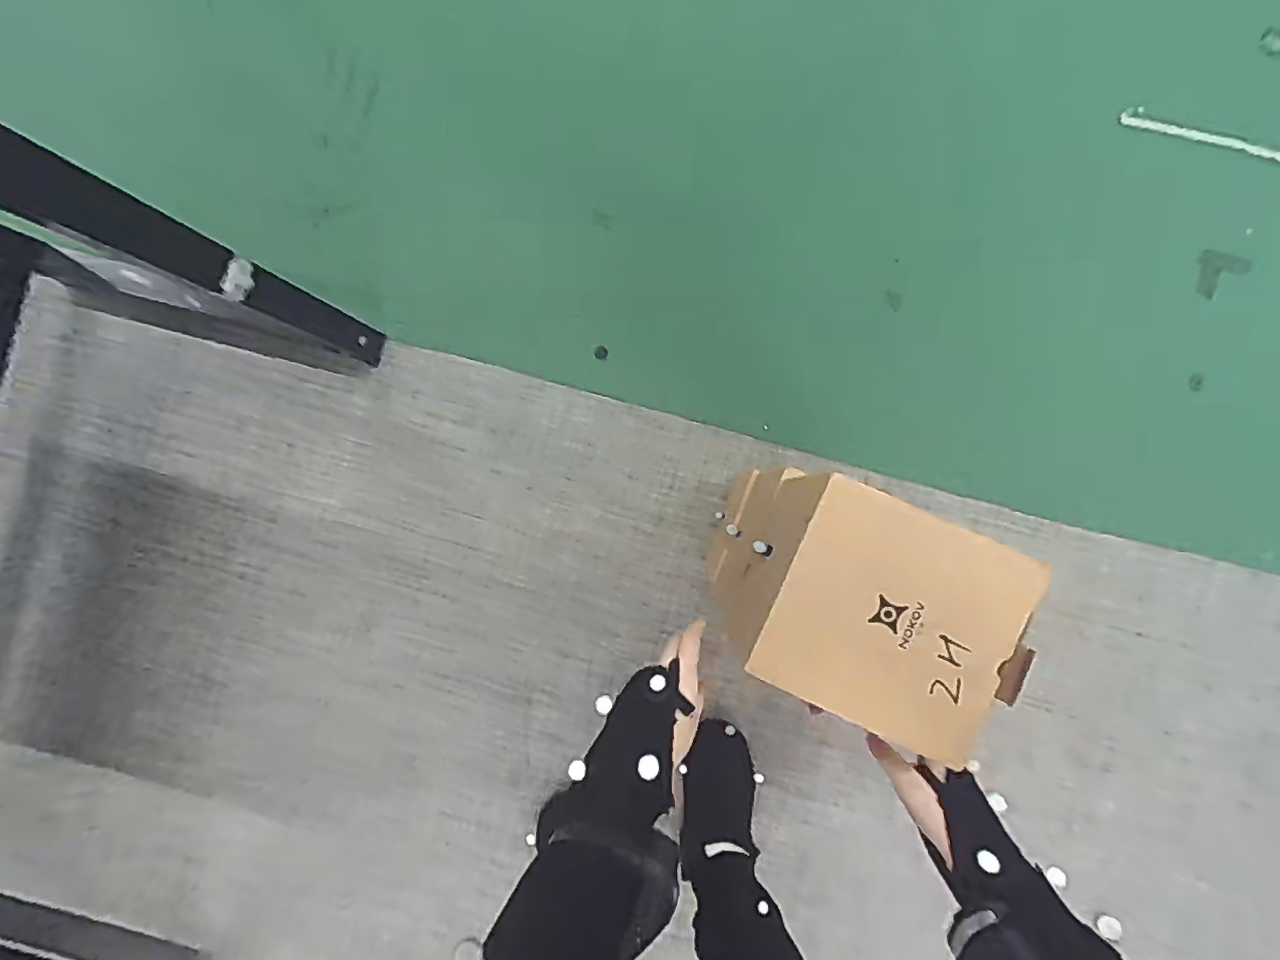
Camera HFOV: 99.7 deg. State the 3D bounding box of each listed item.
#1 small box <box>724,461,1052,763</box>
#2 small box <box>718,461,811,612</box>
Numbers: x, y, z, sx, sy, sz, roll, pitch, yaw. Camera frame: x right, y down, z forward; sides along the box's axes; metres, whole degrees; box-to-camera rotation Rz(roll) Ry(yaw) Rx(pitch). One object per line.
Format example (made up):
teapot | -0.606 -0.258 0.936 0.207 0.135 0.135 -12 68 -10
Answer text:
small box | 0.187 0.098 0.470 0.179 0.176 0.168 25 89 2
small box | 0.198 0.090 0.635 0.168 0.176 0.179 21 90 3
